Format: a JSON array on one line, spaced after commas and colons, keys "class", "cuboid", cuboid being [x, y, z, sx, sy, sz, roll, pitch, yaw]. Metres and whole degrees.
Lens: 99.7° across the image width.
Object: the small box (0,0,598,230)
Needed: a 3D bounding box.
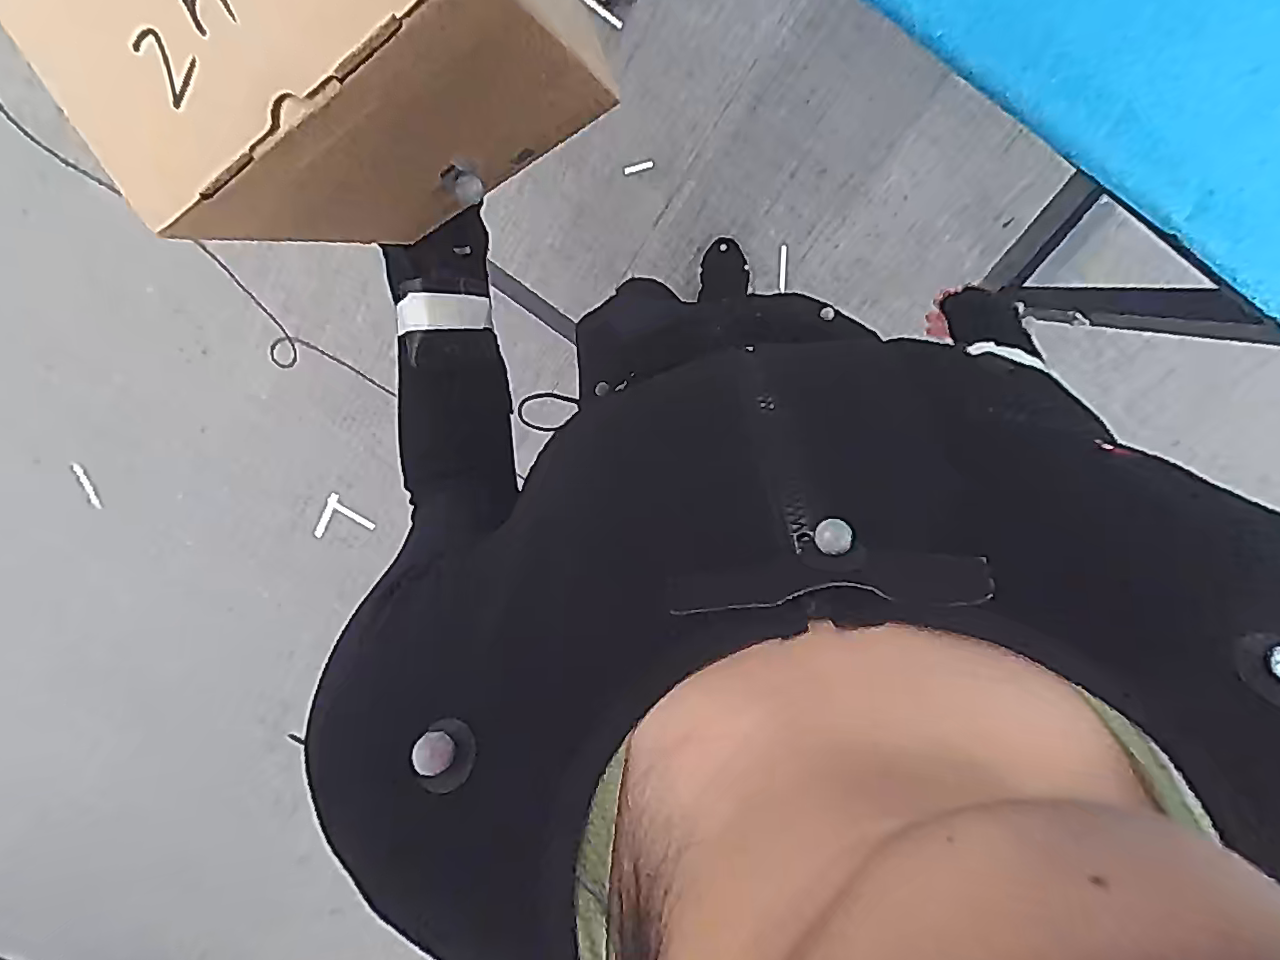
[{"class": "small box", "cuboid": [-0.140, -0.227, 0.232, 0.168, 0.176, 0.179, -16, 110, 21]}]
